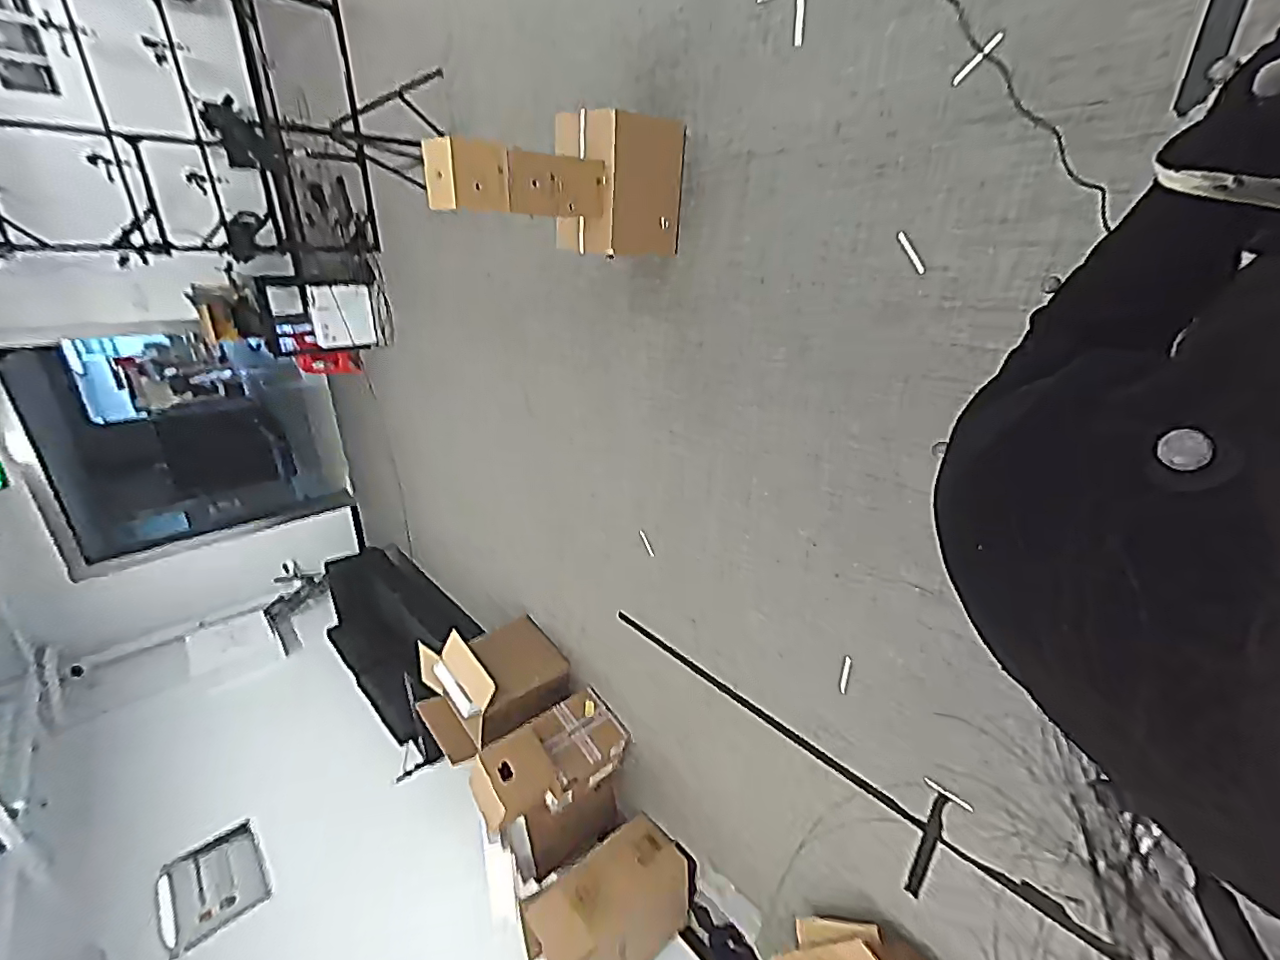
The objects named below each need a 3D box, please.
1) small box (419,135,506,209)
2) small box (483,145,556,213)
[{"bbox_3d":[-0.479,-0.841,1.484,0.179,0.176,0.168,27,125,41],"label":"small box"},{"bbox_3d":[-0.361,-0.882,1.589,0.179,0.176,0.168,29,125,39],"label":"small box"}]
